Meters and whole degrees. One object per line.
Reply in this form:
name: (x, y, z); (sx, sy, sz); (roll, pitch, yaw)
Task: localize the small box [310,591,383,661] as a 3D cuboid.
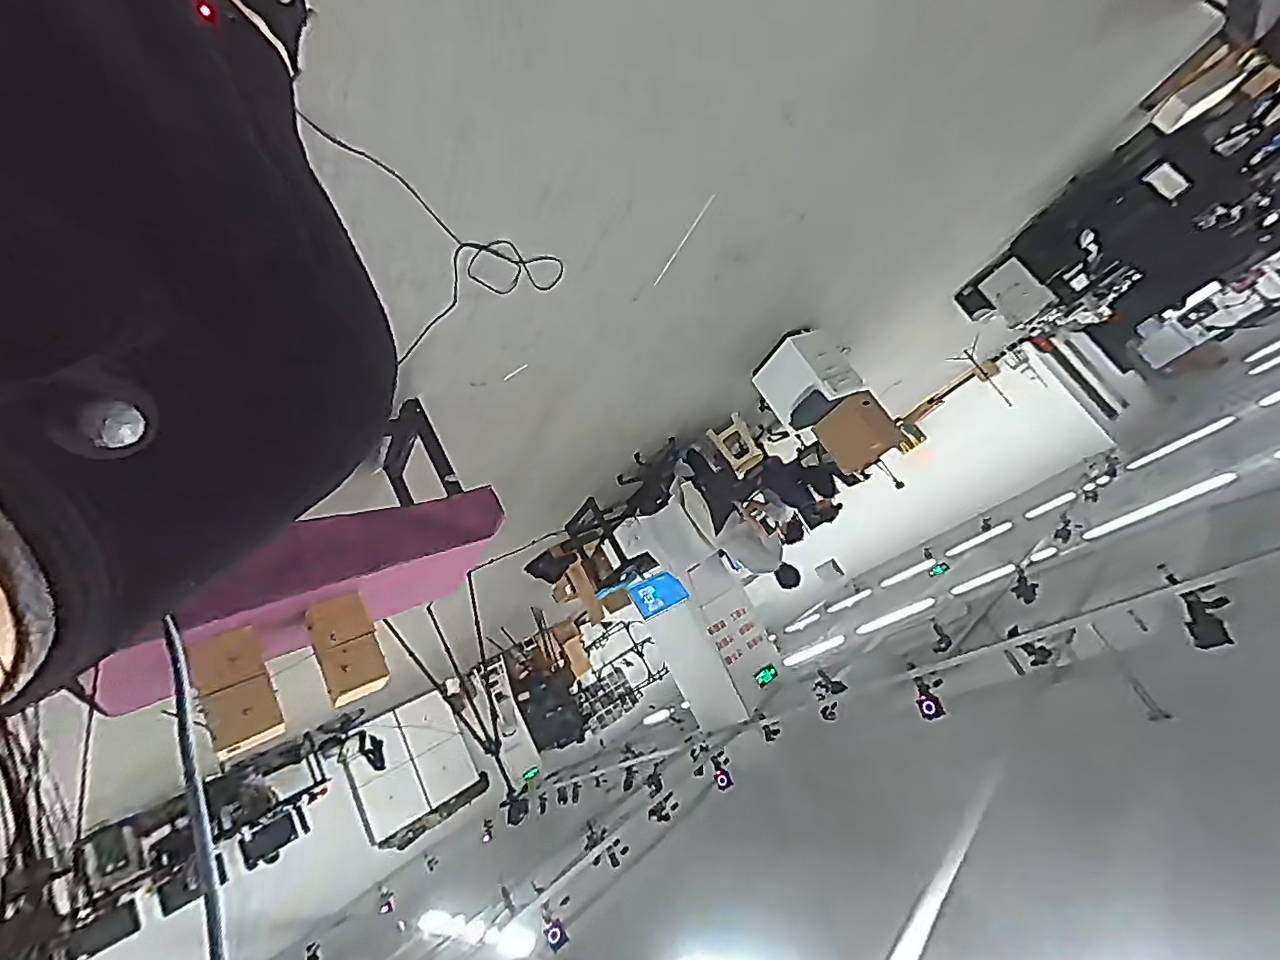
small box: (-1.056, 0.519, 1.940); (0.179, 0.176, 0.168); (-14, 158, -42)

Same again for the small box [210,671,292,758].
small box: (-1.201, 0.720, 1.669); (0.179, 0.176, 0.168); (-17, 160, -41)

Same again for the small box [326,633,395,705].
small box: (-0.982, 0.655, 1.891); (0.168, 0.176, 0.179); (-15, 159, -41)

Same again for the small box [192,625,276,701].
small box: (-1.285, 0.585, 1.716); (0.179, 0.176, 0.168); (-18, 160, -40)
